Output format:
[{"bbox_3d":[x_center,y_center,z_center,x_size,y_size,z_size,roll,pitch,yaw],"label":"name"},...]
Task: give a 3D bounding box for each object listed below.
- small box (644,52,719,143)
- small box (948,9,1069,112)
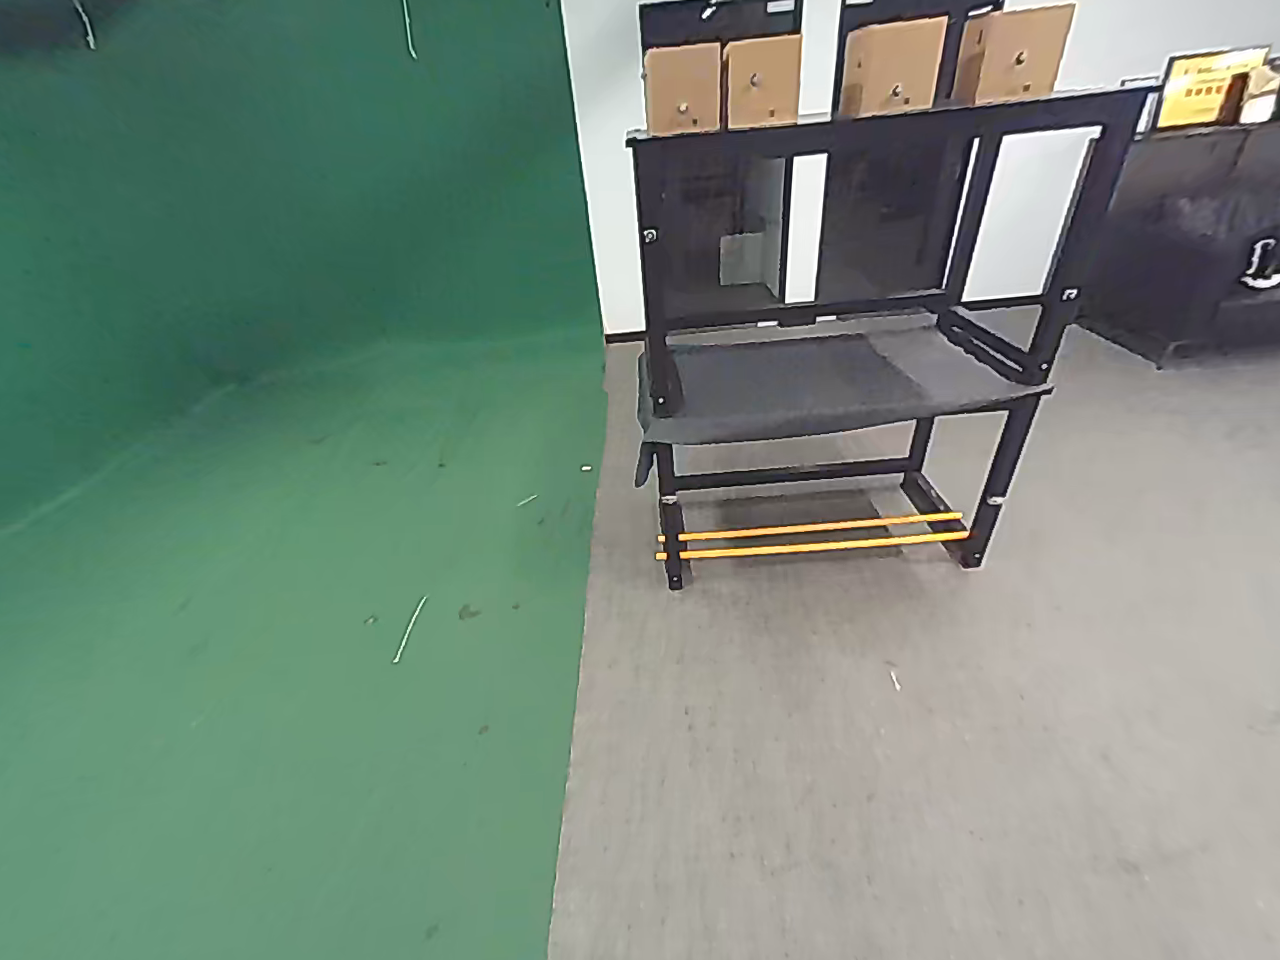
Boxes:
[{"bbox_3d":[0.098,-0.937,1.333,0.168,0.176,0.179,-5,34,0],"label":"small box"},{"bbox_3d":[0.859,-0.983,1.280,0.168,0.176,0.179,0,34,9],"label":"small box"}]
